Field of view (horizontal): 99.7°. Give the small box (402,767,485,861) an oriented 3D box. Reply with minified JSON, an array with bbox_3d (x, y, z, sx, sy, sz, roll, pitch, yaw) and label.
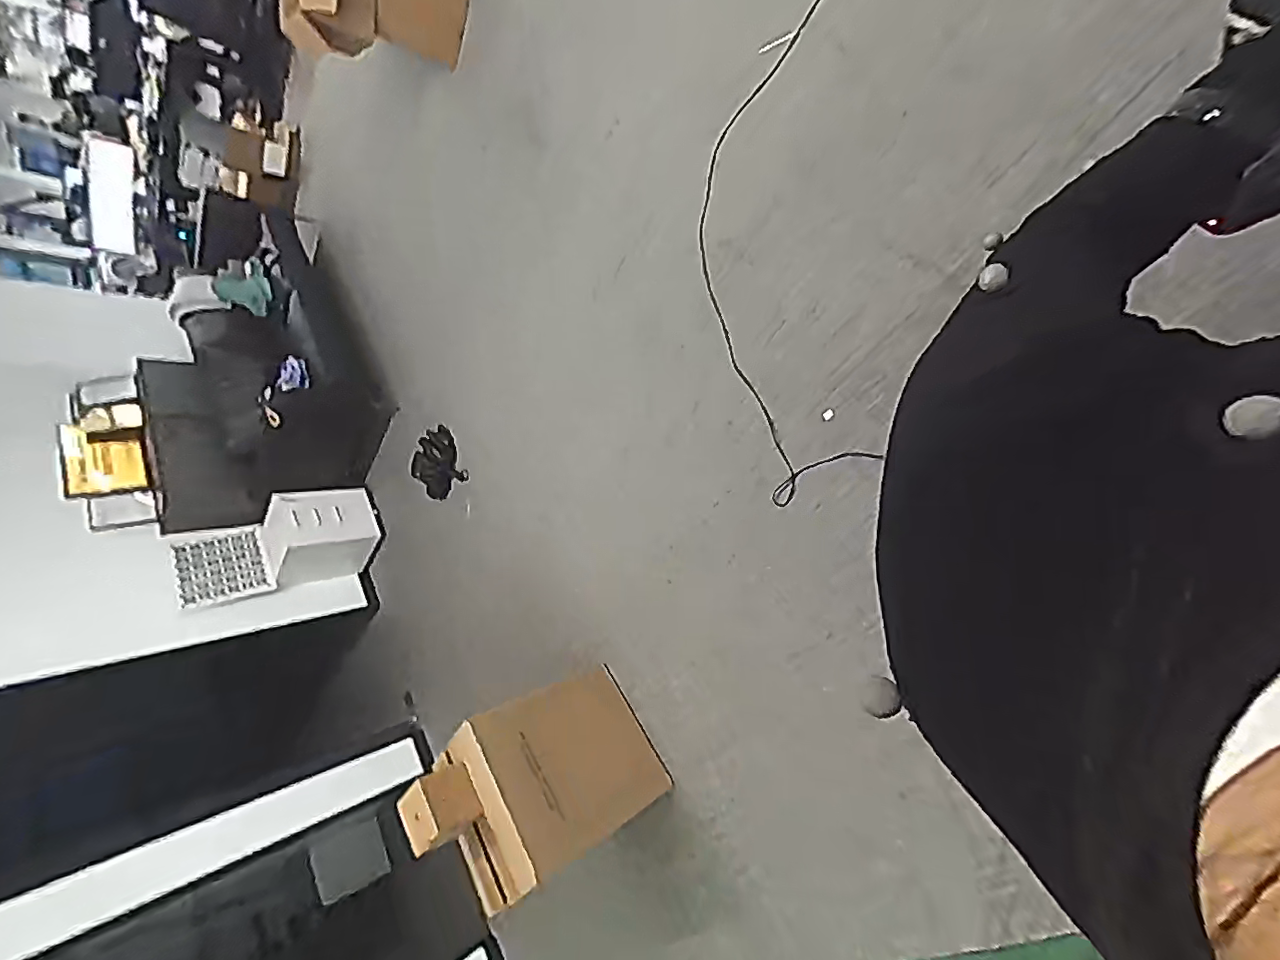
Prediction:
[{"bbox_3d":[-0.628,1.066,1.739,0.168,0.176,0.179,-52,58,21],"label":"small box"}]
